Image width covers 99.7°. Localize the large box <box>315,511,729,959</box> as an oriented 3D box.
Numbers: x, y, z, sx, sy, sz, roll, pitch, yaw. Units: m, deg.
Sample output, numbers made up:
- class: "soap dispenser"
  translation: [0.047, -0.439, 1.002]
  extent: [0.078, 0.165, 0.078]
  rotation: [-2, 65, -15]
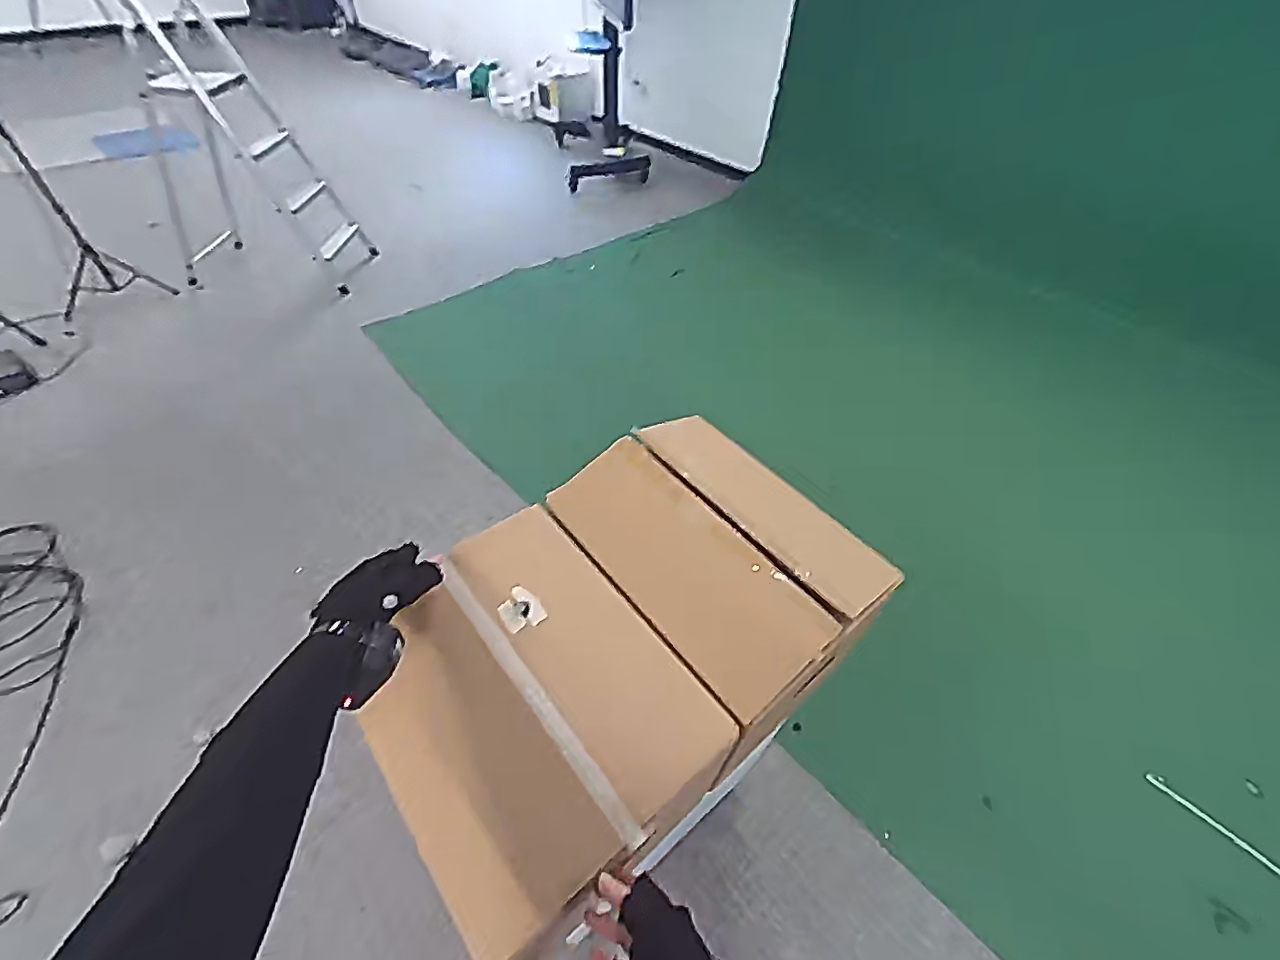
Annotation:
- class: "large box"
  translation: [-0.146, 0.325, 0.720]
  extent: [0.320, 0.320, 0.408]
  rotation: [-30, 55, -28]
